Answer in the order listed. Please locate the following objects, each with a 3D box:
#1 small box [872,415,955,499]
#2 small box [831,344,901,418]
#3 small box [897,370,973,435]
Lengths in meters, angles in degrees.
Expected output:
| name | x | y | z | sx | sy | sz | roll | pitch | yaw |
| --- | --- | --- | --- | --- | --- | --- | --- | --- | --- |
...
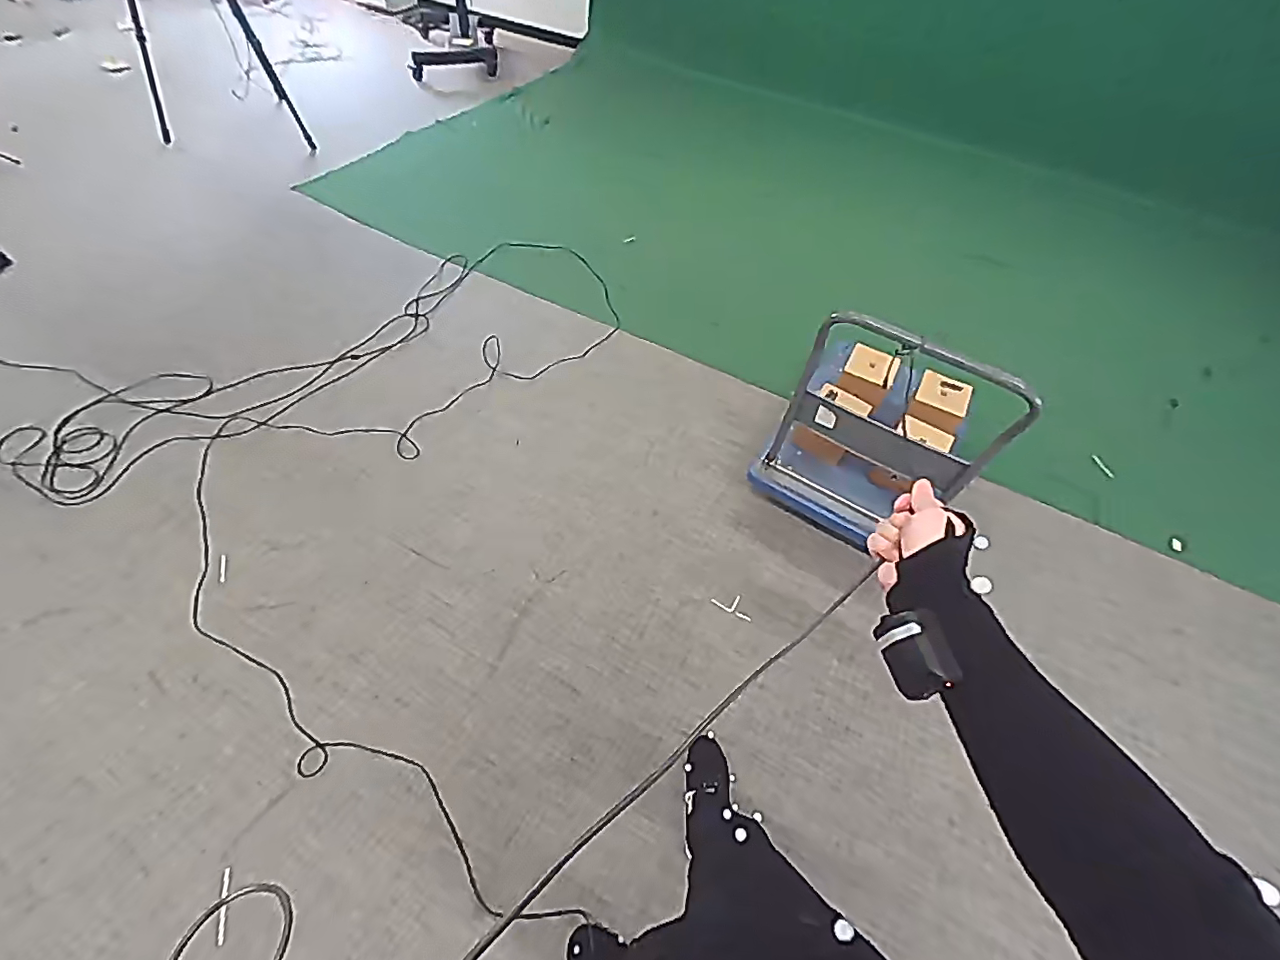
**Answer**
| name | x | y | z | sx | sy | sz | roll | pitch | yaw |
| --- | --- | --- | --- | --- | --- | --- | --- | --- | --- |
| small box | 0.889 | -0.073 | 1.770 | 0.168 | 0.176 | 0.179 | 31 | 58 | 17 |
| small box | 0.819 | -0.358 | 1.971 | 0.168 | 0.176 | 0.179 | 27 | 57 | 14 |
| small box | 1.038 | -0.251 | 1.908 | 0.168 | 0.176 | 0.179 | 26 | 57 | 15 |
